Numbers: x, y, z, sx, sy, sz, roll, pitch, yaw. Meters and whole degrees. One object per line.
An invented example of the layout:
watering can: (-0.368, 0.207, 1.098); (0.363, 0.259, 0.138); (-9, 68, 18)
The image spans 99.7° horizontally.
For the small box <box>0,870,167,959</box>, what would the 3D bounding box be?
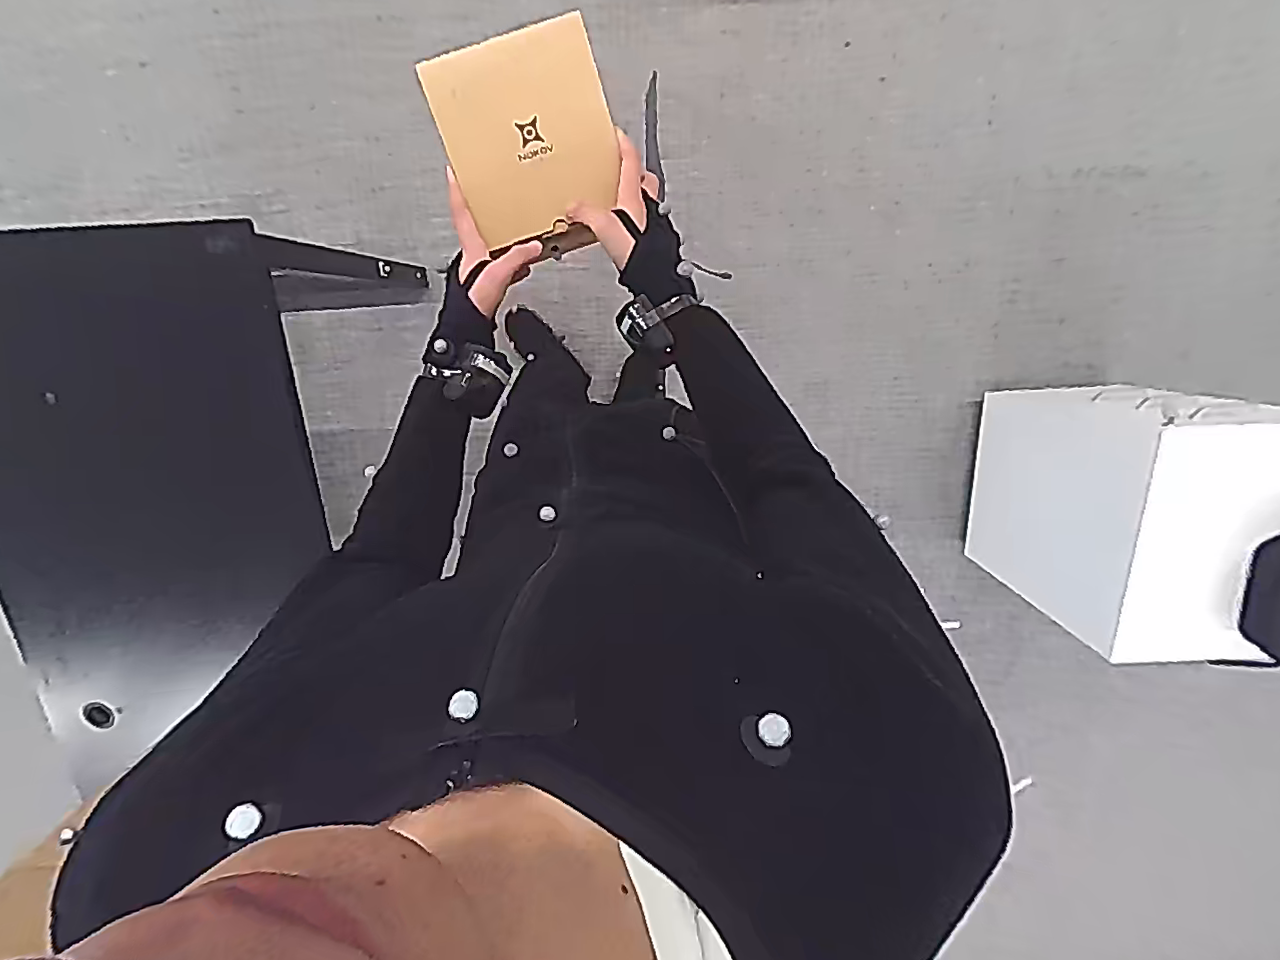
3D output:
small box: (-0.737, 0.606, 0.647); (0.179, 0.176, 0.168); (-4, 108, 1)

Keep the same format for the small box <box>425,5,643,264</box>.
small box: (-0.107, -0.357, 0.597); (0.168, 0.176, 0.179); (-18, 107, 0)

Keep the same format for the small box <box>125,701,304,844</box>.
small box: (-0.734, 0.515, 0.961); (0.179, 0.176, 0.168); (-4, 106, 1)

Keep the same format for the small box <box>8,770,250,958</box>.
small box: (-0.737, 0.561, 0.803); (0.179, 0.176, 0.168); (-3, 107, 1)
